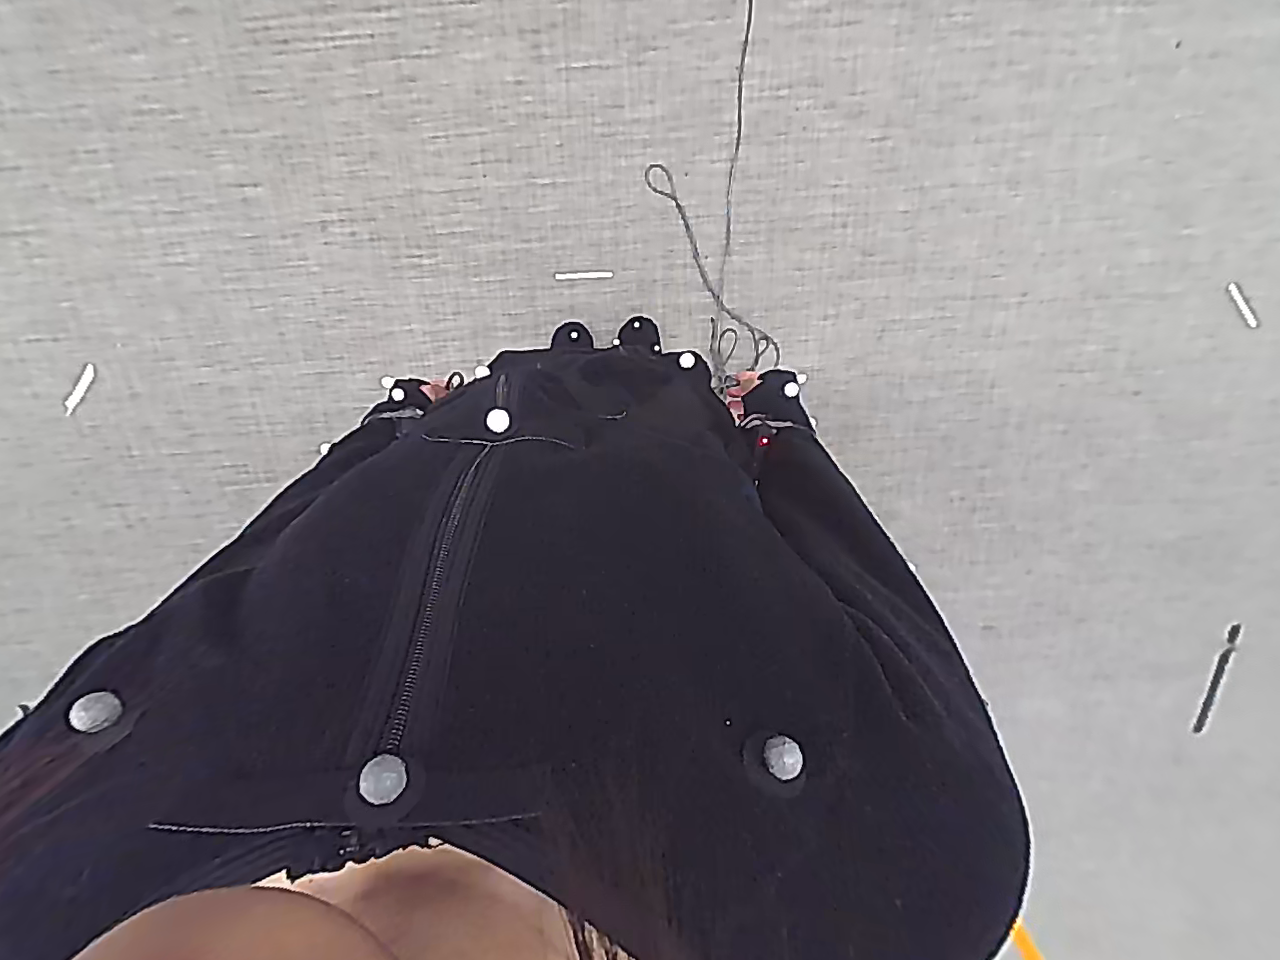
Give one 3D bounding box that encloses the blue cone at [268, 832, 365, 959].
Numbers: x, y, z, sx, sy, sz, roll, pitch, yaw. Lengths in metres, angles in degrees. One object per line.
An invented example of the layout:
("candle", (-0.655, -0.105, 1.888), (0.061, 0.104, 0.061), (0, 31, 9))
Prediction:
("blue cone", (-1.053, 1.347, 1.718), (0.193, 0.380, 0.192), (0, 108, -1))
